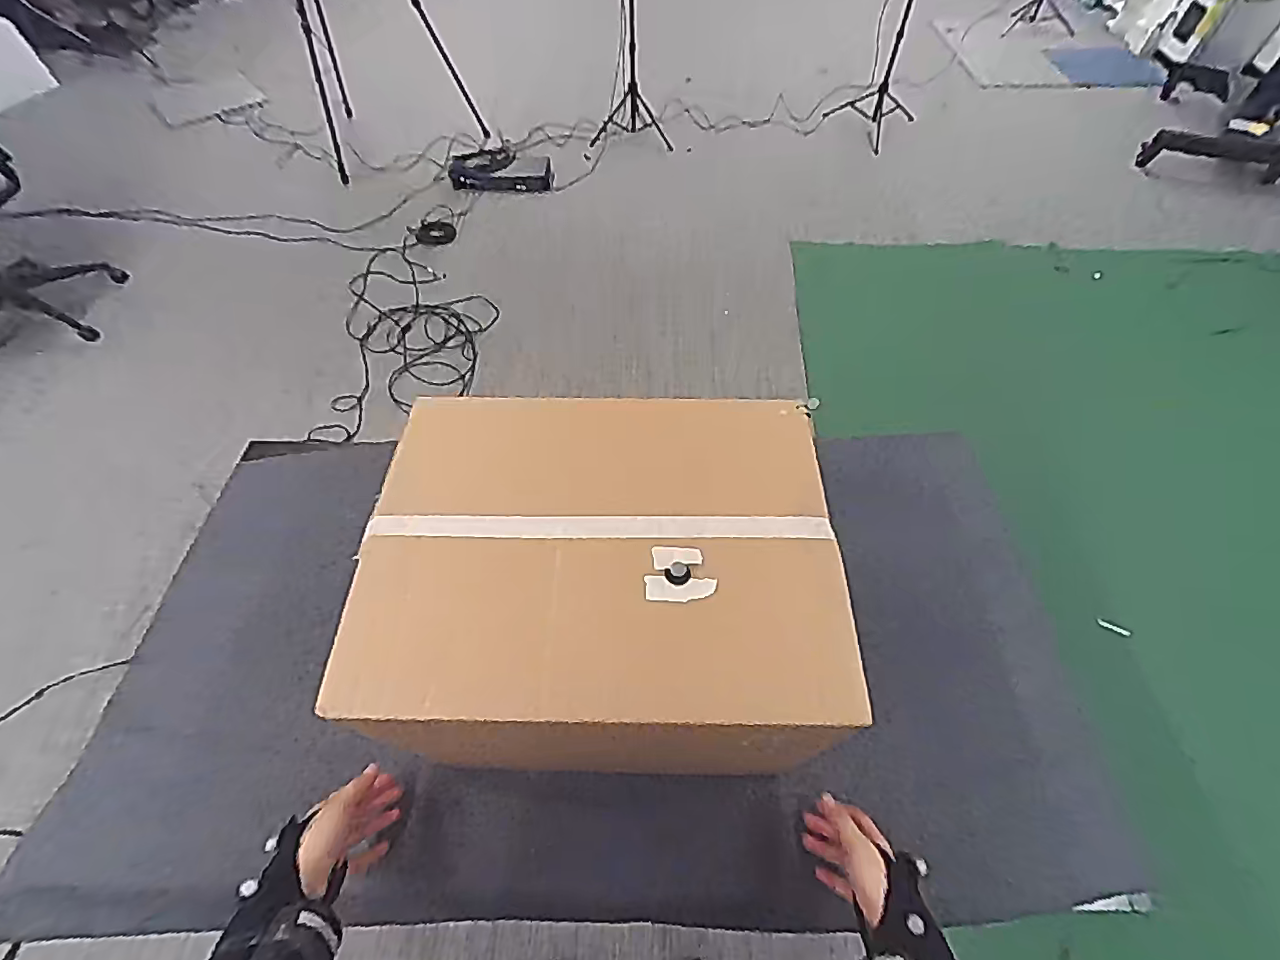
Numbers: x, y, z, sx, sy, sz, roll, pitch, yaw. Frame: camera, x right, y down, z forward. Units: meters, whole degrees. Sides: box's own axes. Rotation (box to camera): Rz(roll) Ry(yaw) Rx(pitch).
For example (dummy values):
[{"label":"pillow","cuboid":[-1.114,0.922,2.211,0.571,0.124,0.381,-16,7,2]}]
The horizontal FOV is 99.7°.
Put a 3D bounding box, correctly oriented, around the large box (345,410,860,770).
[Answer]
[{"label":"large box","cuboid":[-0.030,0.136,0.616,0.408,0.320,0.320,0,56,0]}]
